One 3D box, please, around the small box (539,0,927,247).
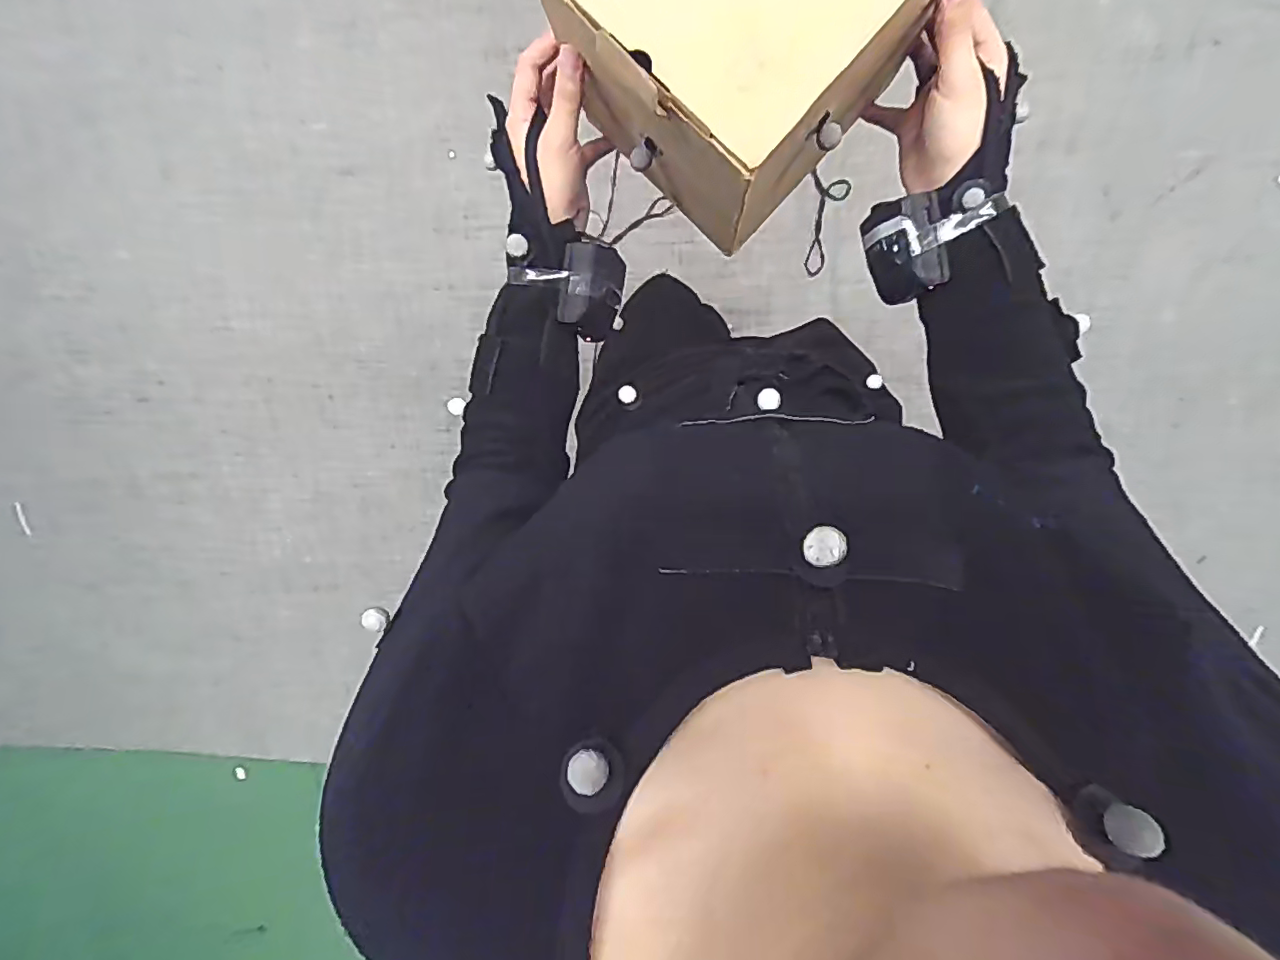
[{"bbox_3d":[0.066,-0.290,0.358,0.168,0.176,0.179,44,100,-1],"label":"small box"}]
